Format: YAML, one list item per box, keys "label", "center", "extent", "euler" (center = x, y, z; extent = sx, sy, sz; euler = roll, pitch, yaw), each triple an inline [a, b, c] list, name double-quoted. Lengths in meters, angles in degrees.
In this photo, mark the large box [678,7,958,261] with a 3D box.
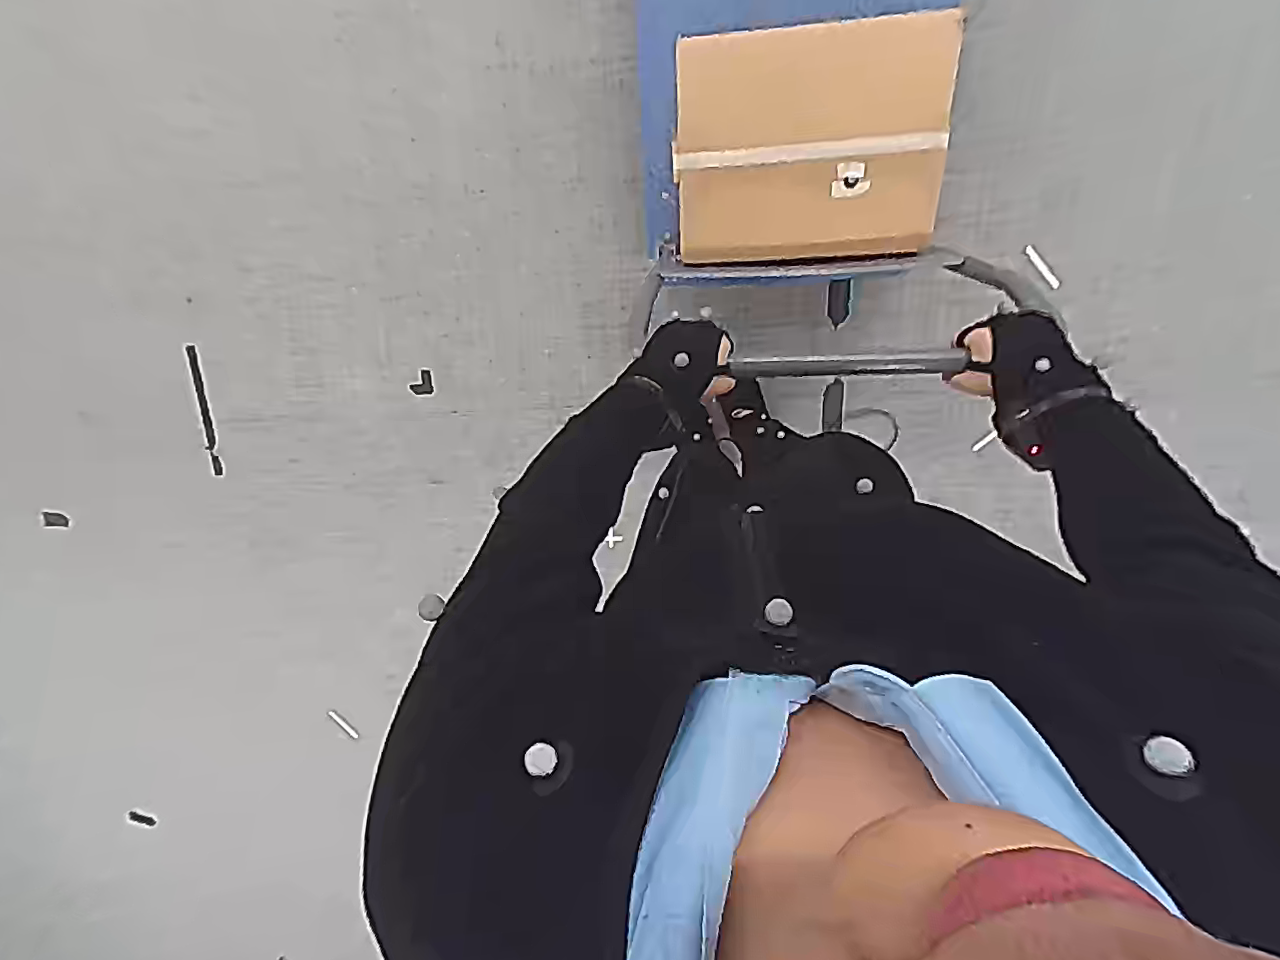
- label: "large box"
  center: [0.281, -0.589, 0.987]
  extent: [0.408, 0.320, 0.320]
  euler: [-1, 116, 7]
